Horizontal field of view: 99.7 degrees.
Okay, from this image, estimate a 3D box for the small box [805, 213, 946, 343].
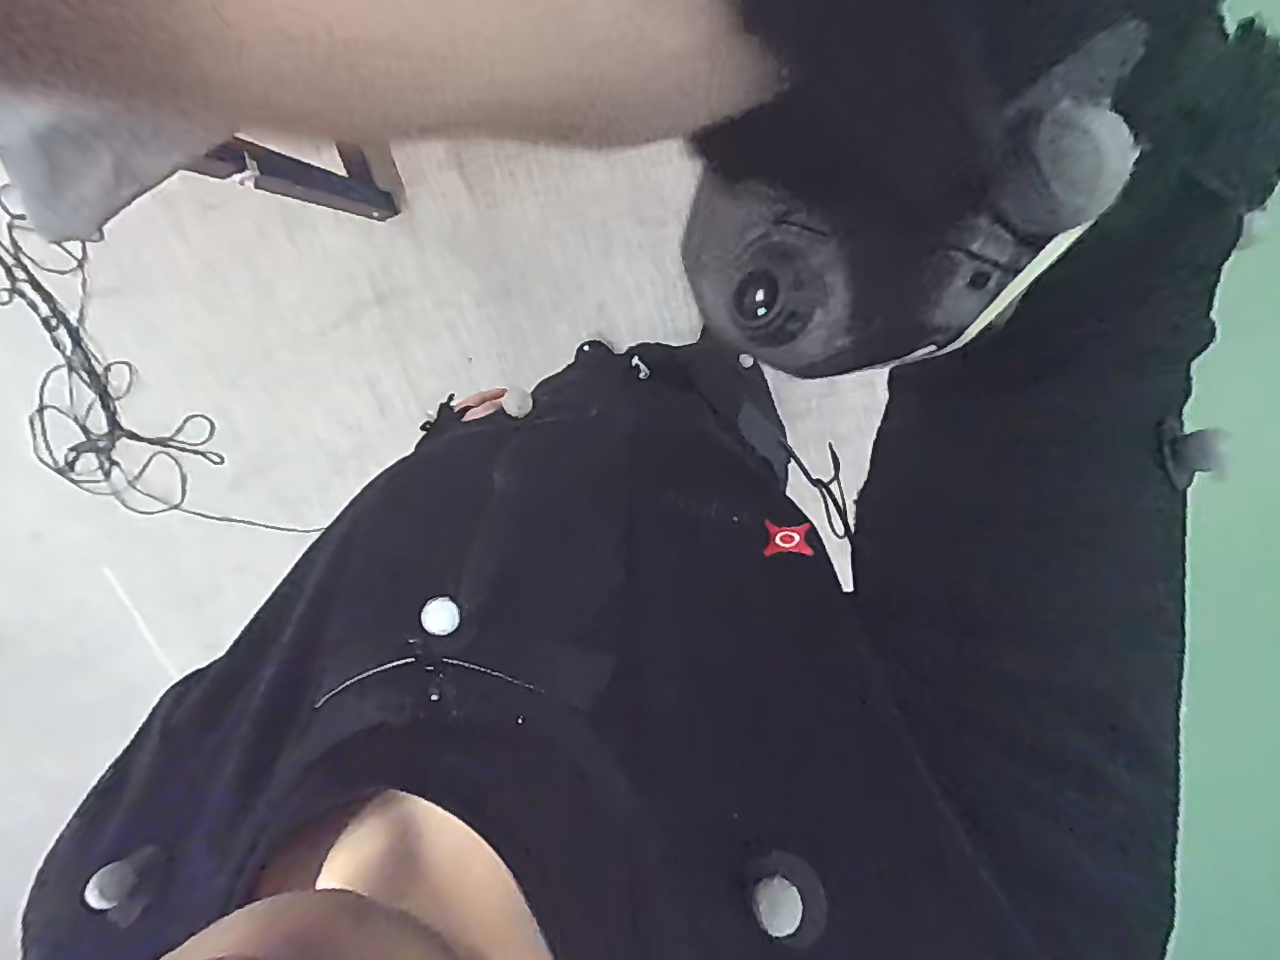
[{"bbox_3d":[0.414,-0.358,0.974,0.179,0.176,0.168,-16,106,11],"label":"small box"}]
